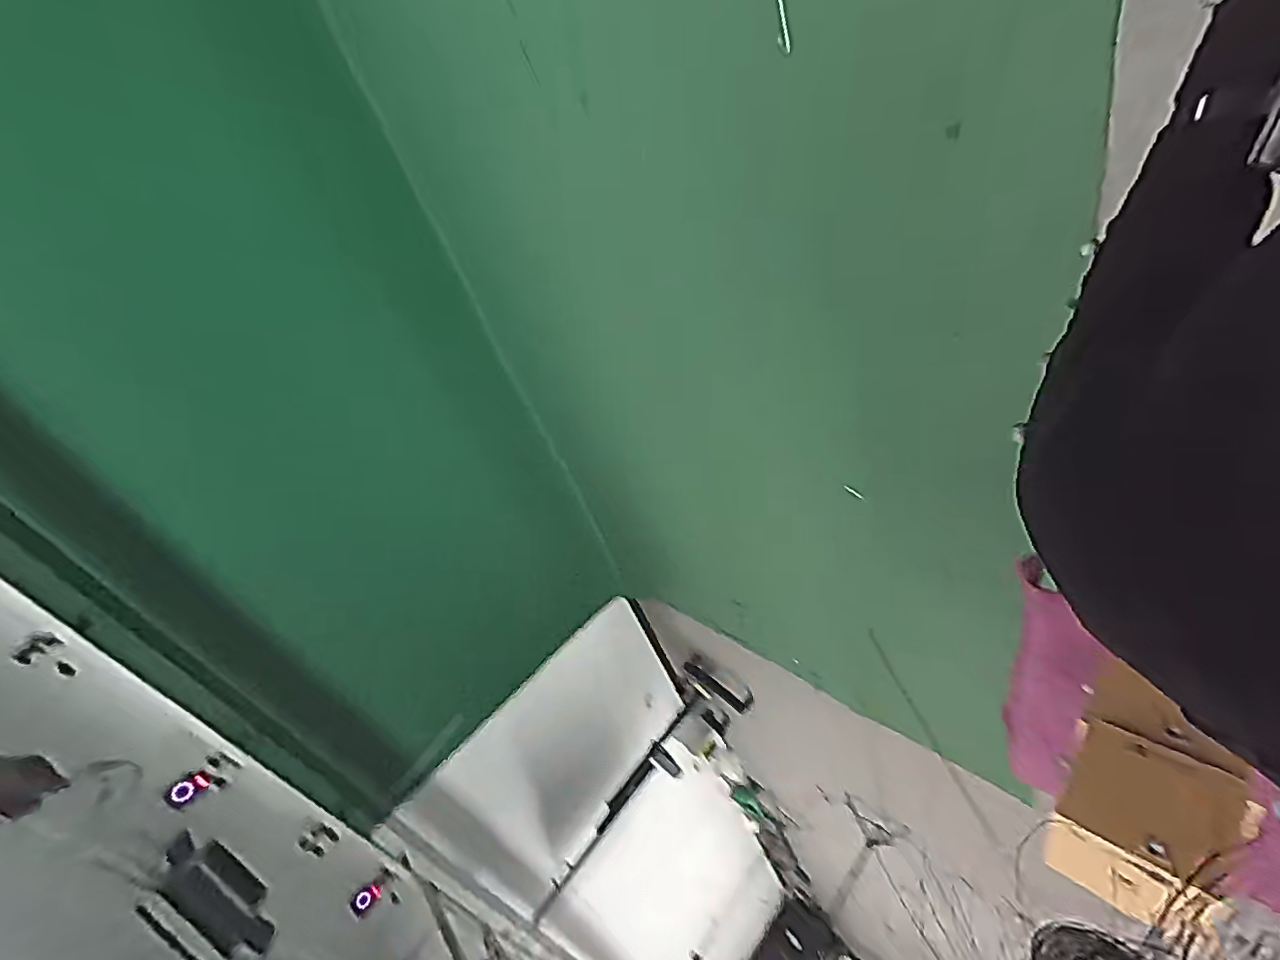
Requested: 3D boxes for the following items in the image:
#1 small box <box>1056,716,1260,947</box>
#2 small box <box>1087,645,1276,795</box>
[{"bbox_3d":[0.701,0.469,0.741,0.168,0.176,0.179,17,140,46],"label":"small box"},{"bbox_3d":[0.816,0.384,0.824,0.179,0.176,0.168,16,139,48],"label":"small box"}]
